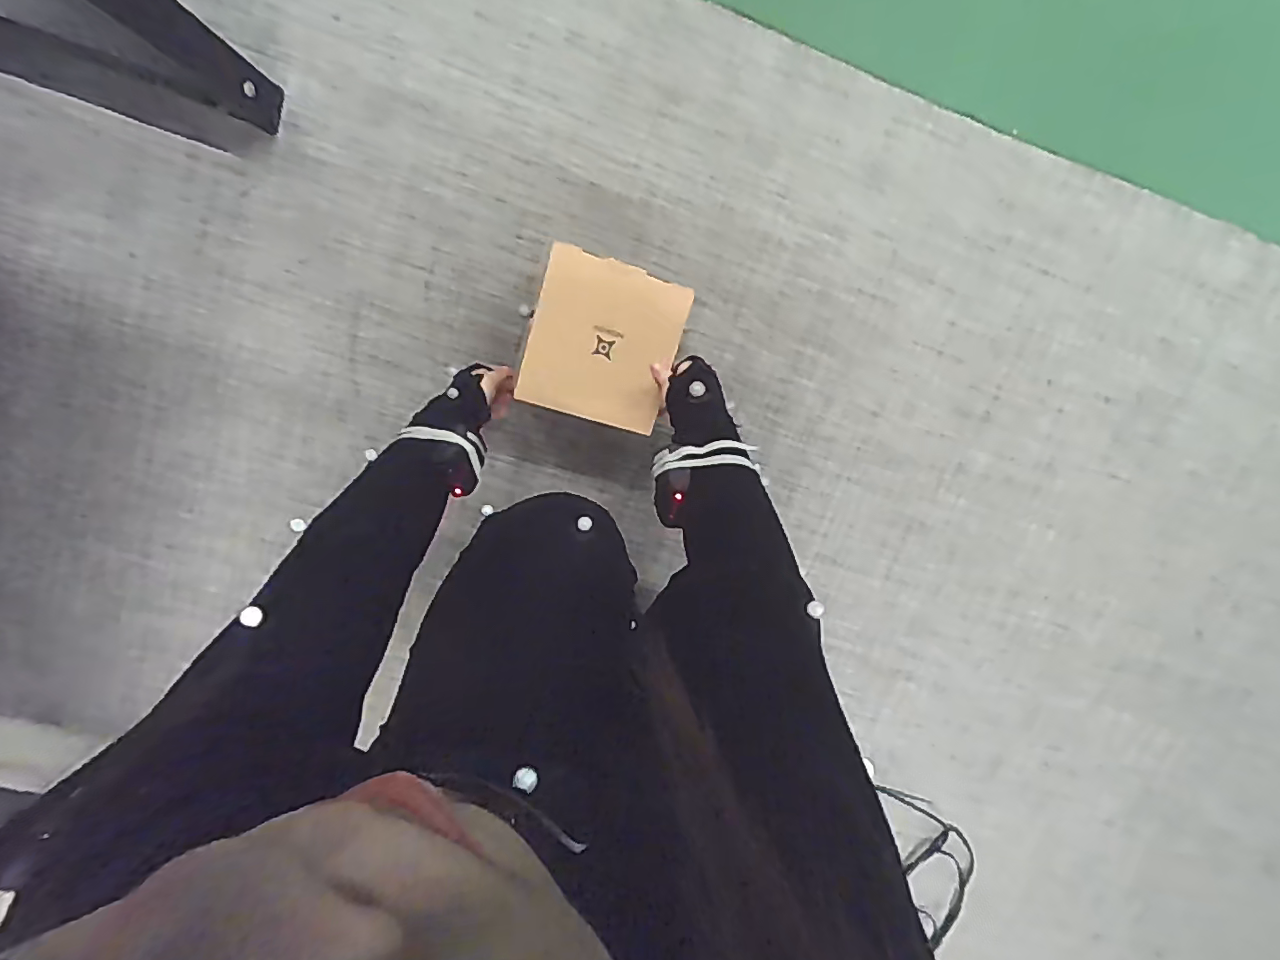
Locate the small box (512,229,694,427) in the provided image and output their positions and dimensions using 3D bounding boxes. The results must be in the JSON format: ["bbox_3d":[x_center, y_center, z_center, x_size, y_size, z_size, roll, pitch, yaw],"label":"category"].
[{"bbox_3d":[-0.058,-0.185,0.678,0.168,0.176,0.179,14,102,-19],"label":"small box"}]
